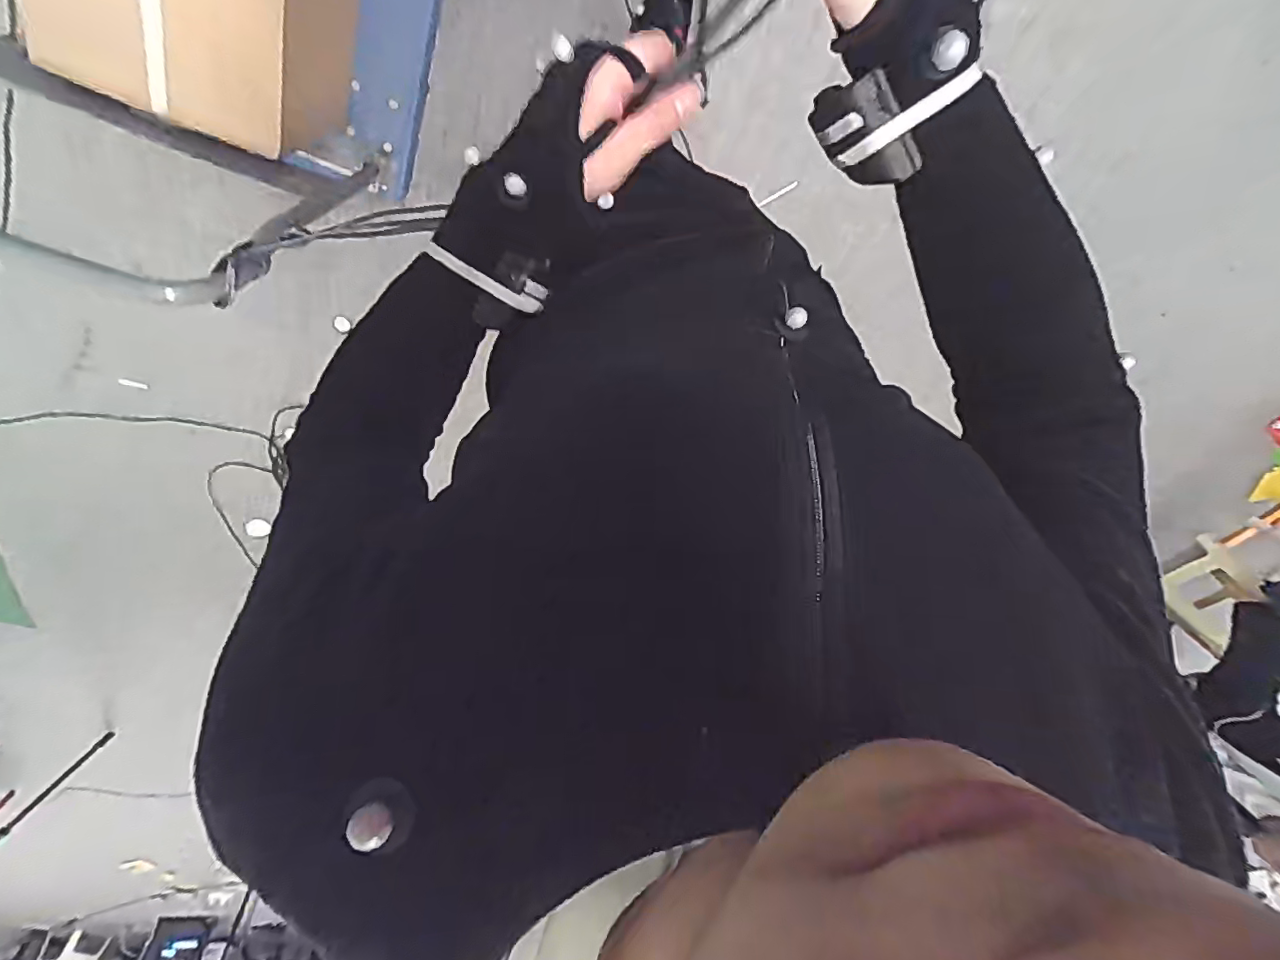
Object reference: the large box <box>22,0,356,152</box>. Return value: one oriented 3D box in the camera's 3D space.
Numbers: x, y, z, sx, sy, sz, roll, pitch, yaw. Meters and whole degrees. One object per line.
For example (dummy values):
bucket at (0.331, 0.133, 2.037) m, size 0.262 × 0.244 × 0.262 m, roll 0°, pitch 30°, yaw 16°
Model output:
large box at (-0.631, -0.780, 0.795) m, size 0.320 × 0.320 × 0.408 m, roll 16°, pitch 126°, yaw -18°
